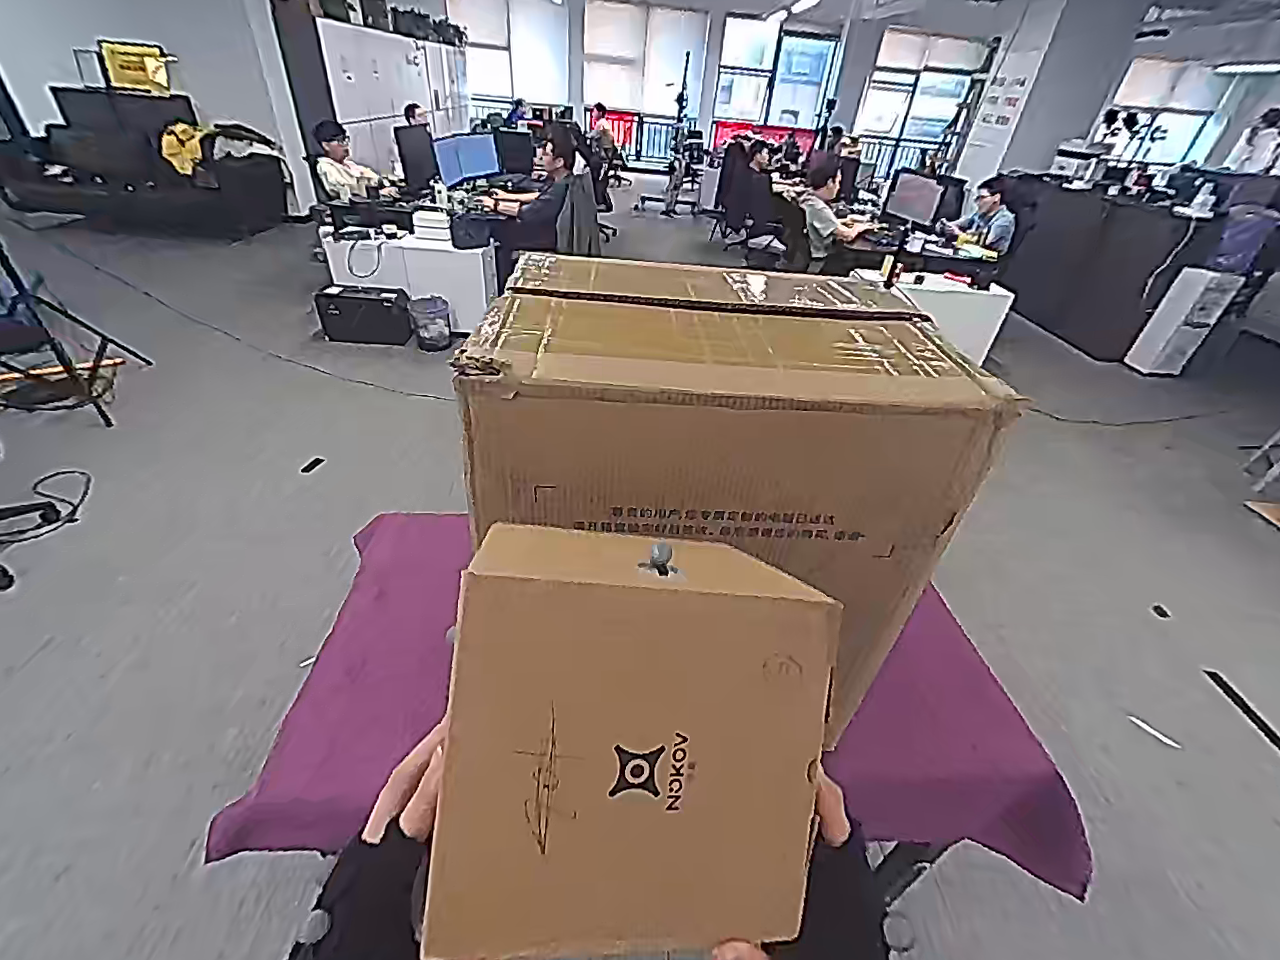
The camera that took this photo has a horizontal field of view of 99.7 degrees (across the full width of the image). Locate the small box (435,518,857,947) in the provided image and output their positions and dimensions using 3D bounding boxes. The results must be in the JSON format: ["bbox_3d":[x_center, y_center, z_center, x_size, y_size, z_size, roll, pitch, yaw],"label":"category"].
[{"bbox_3d":[-0.007,0.115,0.315,0.179,0.168,0.176,6,0,-11],"label":"small box"}]
